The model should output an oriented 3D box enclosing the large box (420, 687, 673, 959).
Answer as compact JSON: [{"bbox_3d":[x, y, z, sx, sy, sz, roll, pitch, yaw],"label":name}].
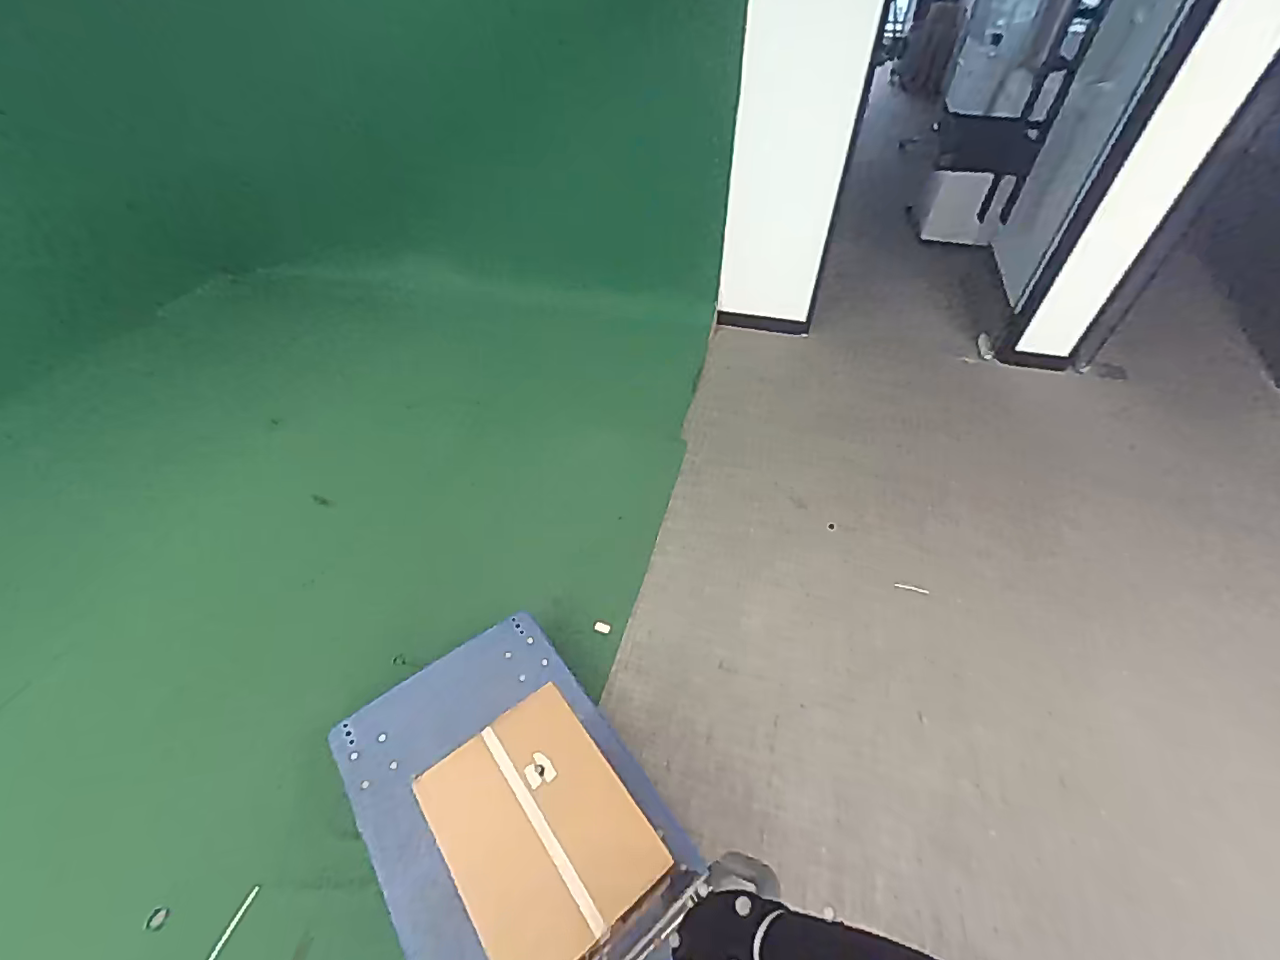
[{"bbox_3d":[-0.175,0.723,1.097,0.320,0.320,0.408,-30,53,-25],"label":"large box"}]
